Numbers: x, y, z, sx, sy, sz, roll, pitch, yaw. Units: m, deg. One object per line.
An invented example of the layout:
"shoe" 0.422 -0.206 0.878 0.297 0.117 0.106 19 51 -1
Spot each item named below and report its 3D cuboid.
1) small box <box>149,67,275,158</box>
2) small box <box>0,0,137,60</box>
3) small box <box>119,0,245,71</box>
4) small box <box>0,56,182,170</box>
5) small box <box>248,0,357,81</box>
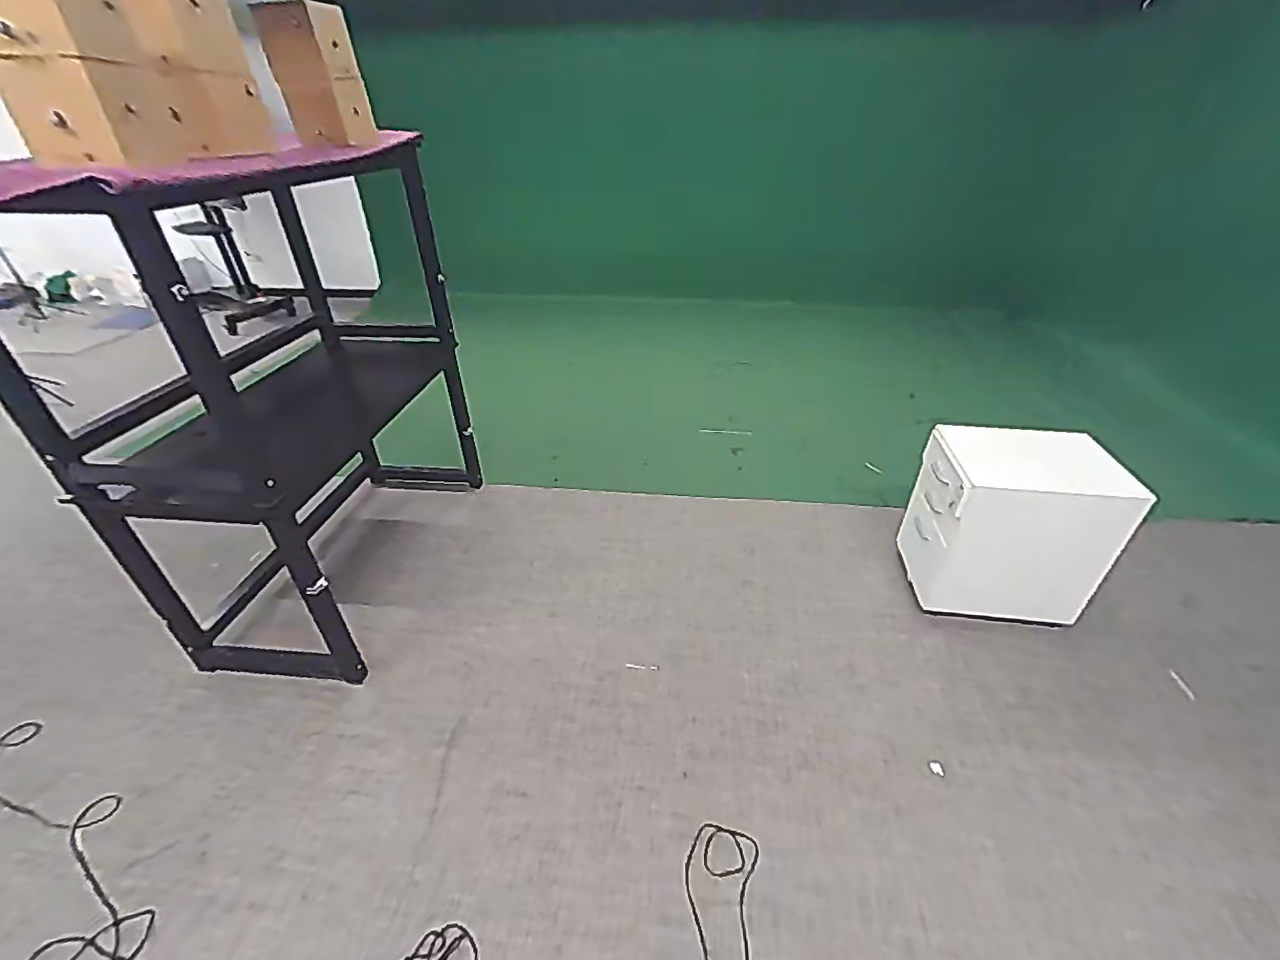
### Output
"small box" -1.026 -0.874 1.295 0.168 0.176 0.179 3 34 7
"small box" -1.033 -0.826 0.932 0.168 0.176 0.179 -4 35 -5
"small box" -1.036 -1.011 1.204 0.168 0.176 0.179 3 33 7
"small box" -1.031 -0.691 1.024 0.168 0.176 0.179 -2 35 -3
"small box" -0.947 -1.248 1.537 0.179 0.176 0.168 2 36 8
